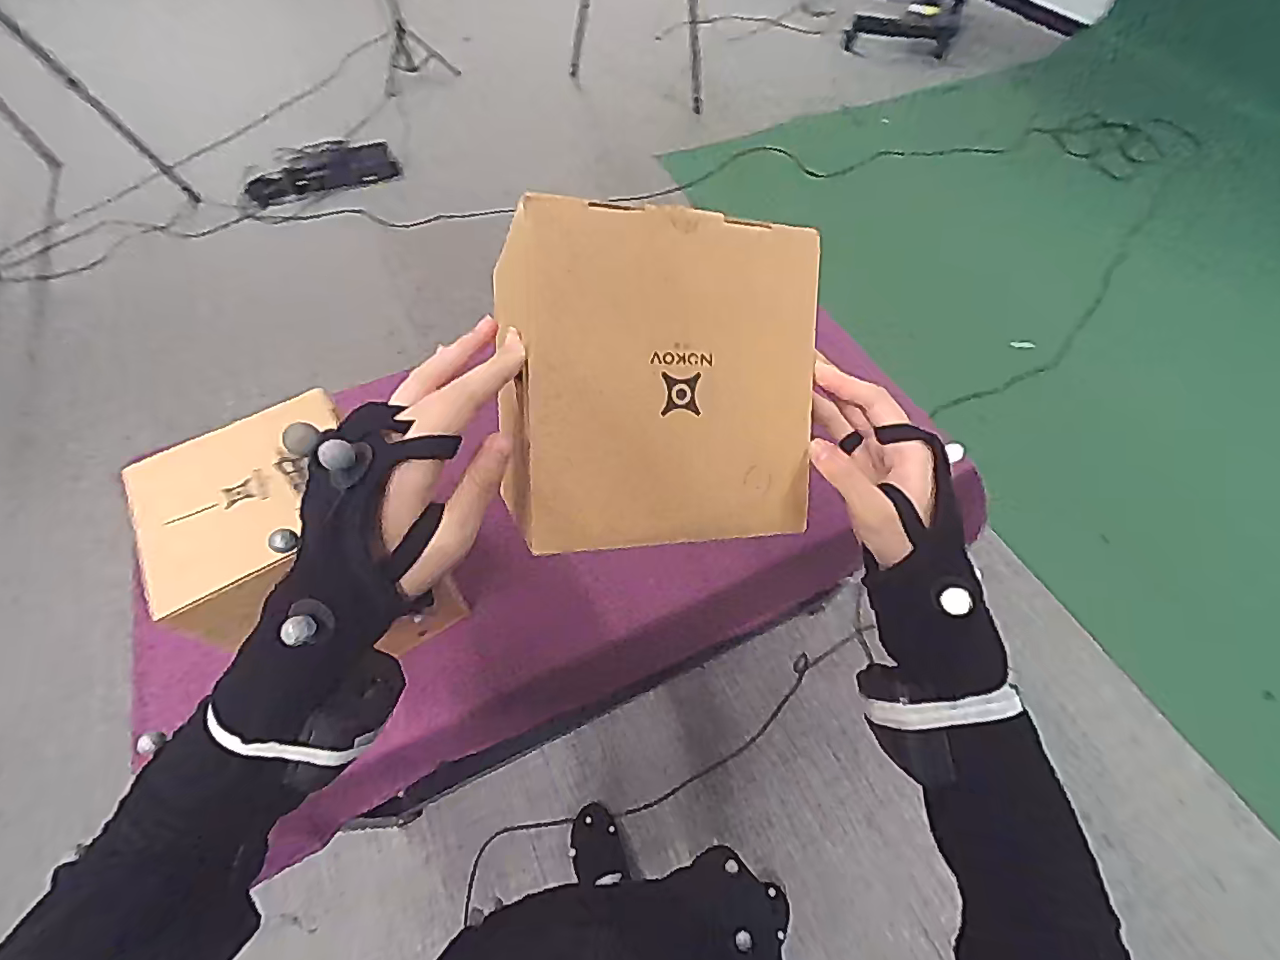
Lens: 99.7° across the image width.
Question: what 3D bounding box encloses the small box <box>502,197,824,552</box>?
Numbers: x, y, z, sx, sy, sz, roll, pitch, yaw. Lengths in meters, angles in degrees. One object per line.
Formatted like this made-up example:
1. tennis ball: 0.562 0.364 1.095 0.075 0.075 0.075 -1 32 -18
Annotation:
1. small box: -0.002 -0.062 0.365 0.168 0.176 0.179 -2 99 -18

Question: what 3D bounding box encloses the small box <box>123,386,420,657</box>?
1. small box: -0.340 0.046 0.534 0.179 0.176 0.168 -29 63 -17

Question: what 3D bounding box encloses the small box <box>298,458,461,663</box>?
1. small box: -0.351 0.111 0.687 0.168 0.176 0.179 -28 62 -17
